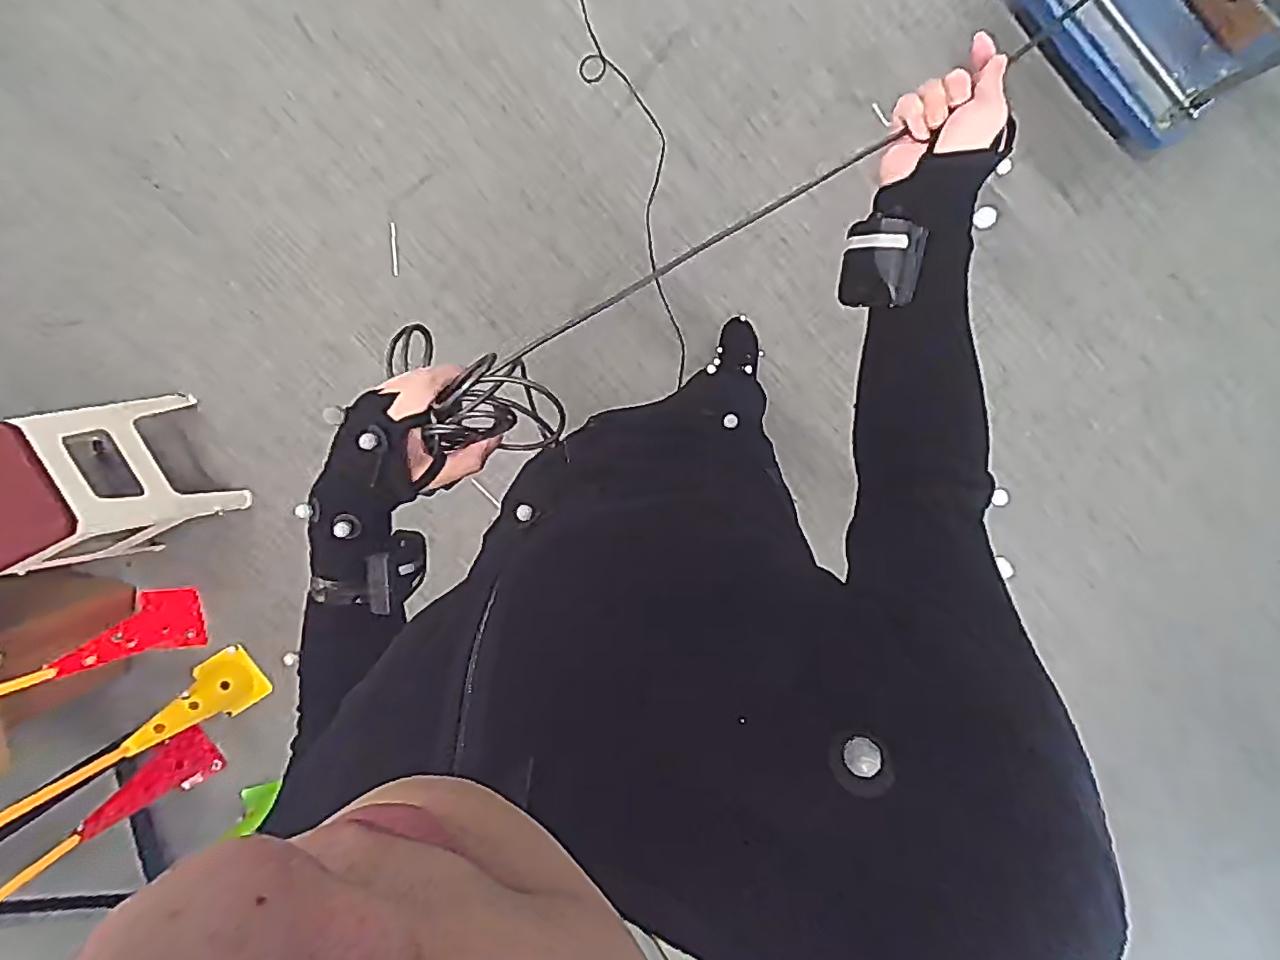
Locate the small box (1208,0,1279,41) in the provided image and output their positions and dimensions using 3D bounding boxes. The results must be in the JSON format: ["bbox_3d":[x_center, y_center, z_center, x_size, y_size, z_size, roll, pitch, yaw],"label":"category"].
[{"bbox_3d":[1.354,-1.084,1.118,0.179,0.176,0.168,-42,95,9],"label":"small box"}]
